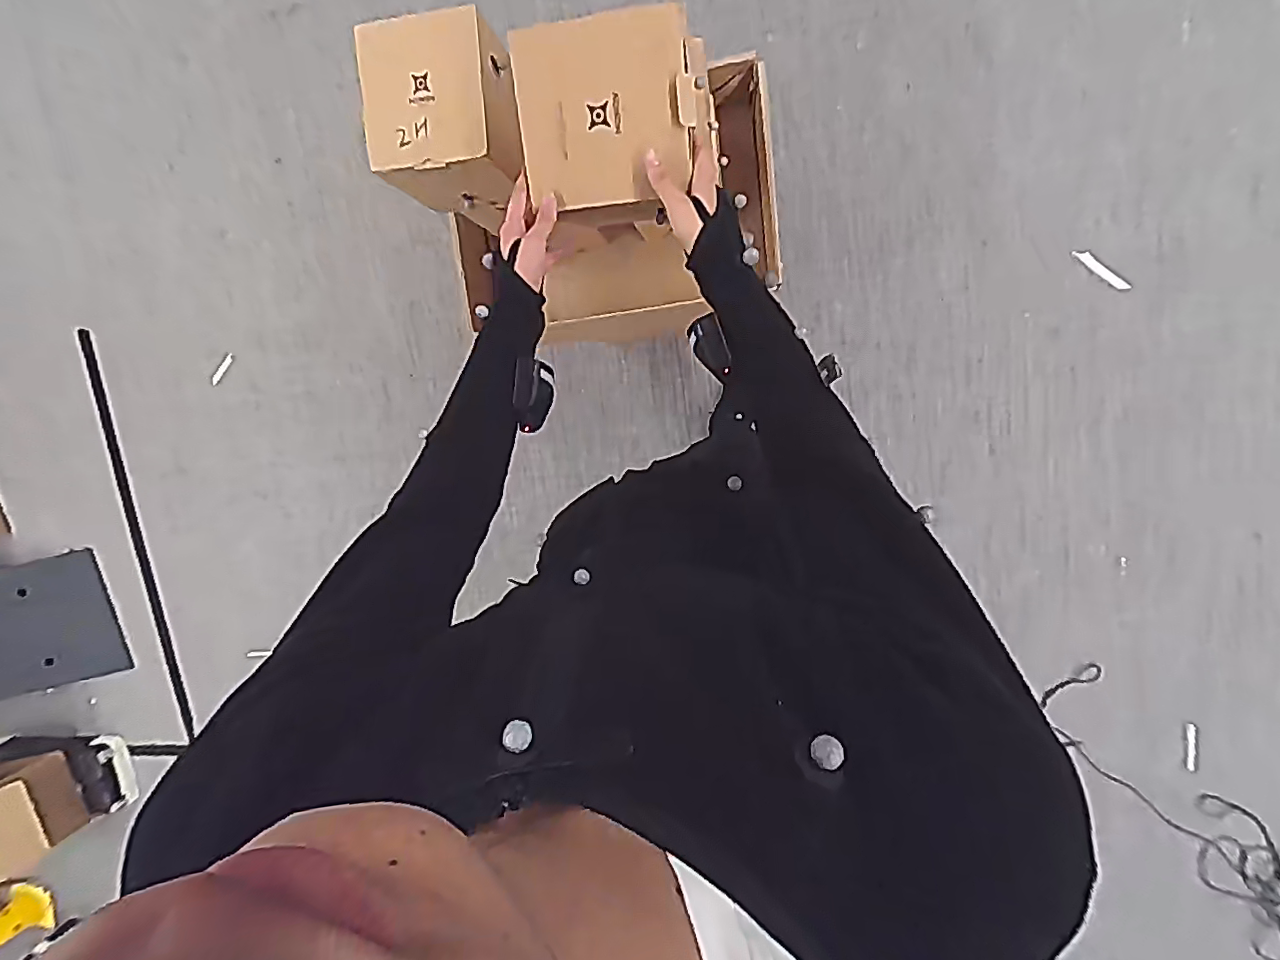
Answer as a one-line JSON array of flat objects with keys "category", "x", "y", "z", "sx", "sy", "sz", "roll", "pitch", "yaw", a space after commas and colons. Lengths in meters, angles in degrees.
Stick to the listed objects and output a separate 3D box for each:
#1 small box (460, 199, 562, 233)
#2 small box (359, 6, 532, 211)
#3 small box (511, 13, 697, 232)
[{"category": "small box", "x": -0.202, "y": -0.529, "z": 0.910, "sx": 0.168, "sy": 0.176, "sz": 0.179, "roll": -2, "pitch": 99, "yaw": 9}, {"category": "small box", "x": -0.257, "y": -0.500, "z": 0.755, "sx": 0.168, "sy": 0.176, "sz": 0.179, "roll": -1, "pitch": 100, "yaw": 9}, {"category": "small box", "x": -0.025, "y": -0.387, "z": 0.618, "sx": 0.179, "sy": 0.176, "sz": 0.168, "roll": -2, "pitch": 109, "yaw": 9}]
